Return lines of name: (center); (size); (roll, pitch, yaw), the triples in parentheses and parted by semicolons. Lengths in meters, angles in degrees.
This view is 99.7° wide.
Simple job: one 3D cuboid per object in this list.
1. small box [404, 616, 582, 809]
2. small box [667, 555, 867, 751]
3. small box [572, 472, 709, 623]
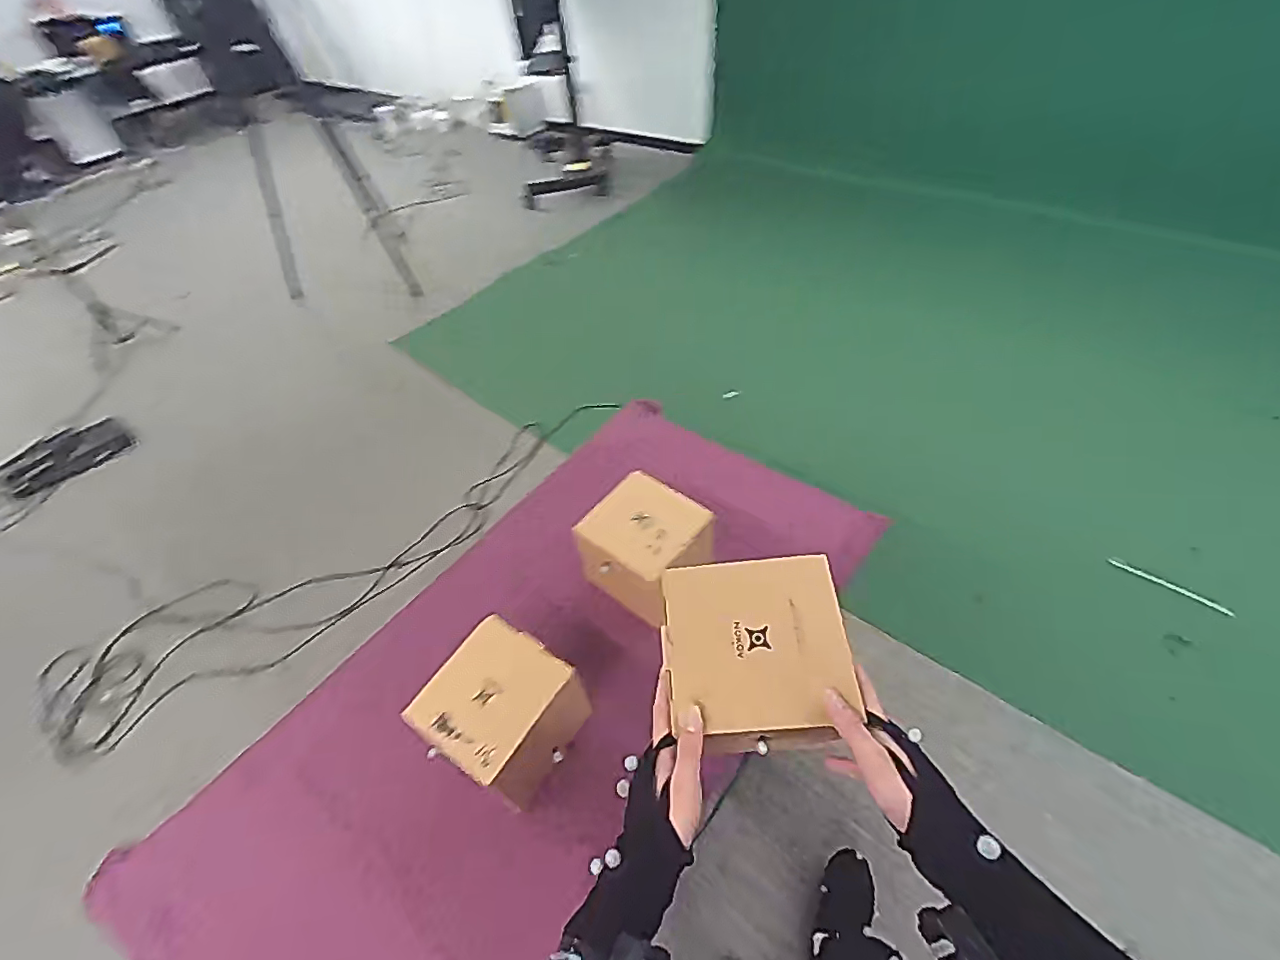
small box: (-0.201, 0.343, 0.799); (0.168, 0.176, 0.179); (24, 56, 25)
small box: (0.128, 0.196, 0.593); (0.179, 0.176, 0.168); (-5, 57, 7)
small box: (0.006, 0.123, 0.966); (0.179, 0.176, 0.168); (30, 59, 28)
